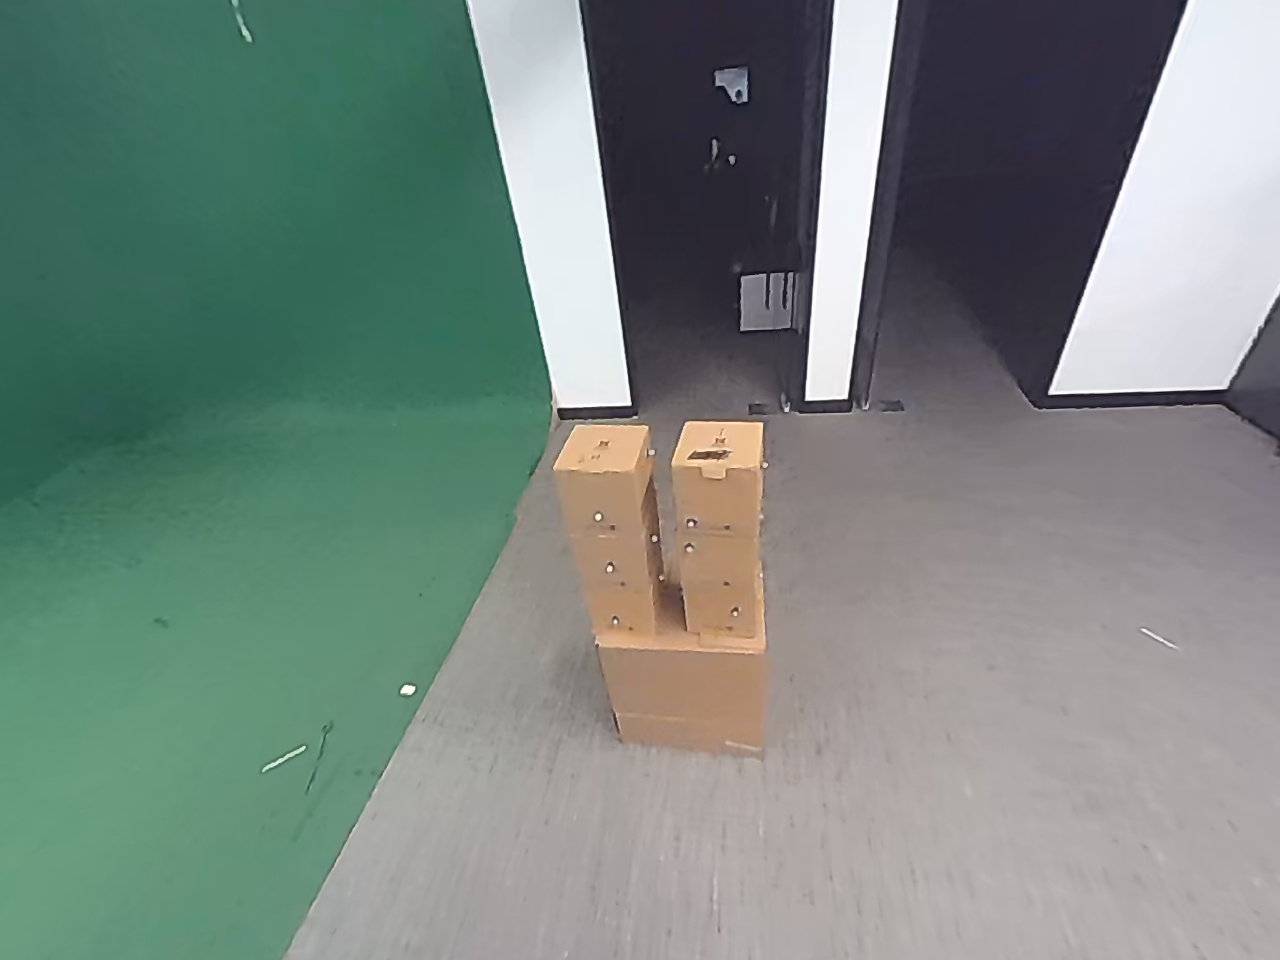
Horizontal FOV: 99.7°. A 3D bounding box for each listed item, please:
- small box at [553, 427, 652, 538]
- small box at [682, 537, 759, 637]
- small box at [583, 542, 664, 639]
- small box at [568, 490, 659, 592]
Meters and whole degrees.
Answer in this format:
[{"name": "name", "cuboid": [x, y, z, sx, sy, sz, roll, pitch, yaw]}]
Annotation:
[{"name": "small box", "cuboid": [-0.070, 0.002, 1.155, 0.168, 0.176, 0.179, 1, 37, 12]}, {"name": "small box", "cuboid": [0.201, 0.259, 1.312, 0.168, 0.176, 0.179, 1, 35, 14]}, {"name": "small box", "cuboid": [-0.033, 0.267, 1.347, 0.168, 0.176, 0.179, 1, 37, 10]}, {"name": "small box", "cuboid": [-0.051, 0.138, 1.248, 0.168, 0.176, 0.179, 2, 37, 11]}]
